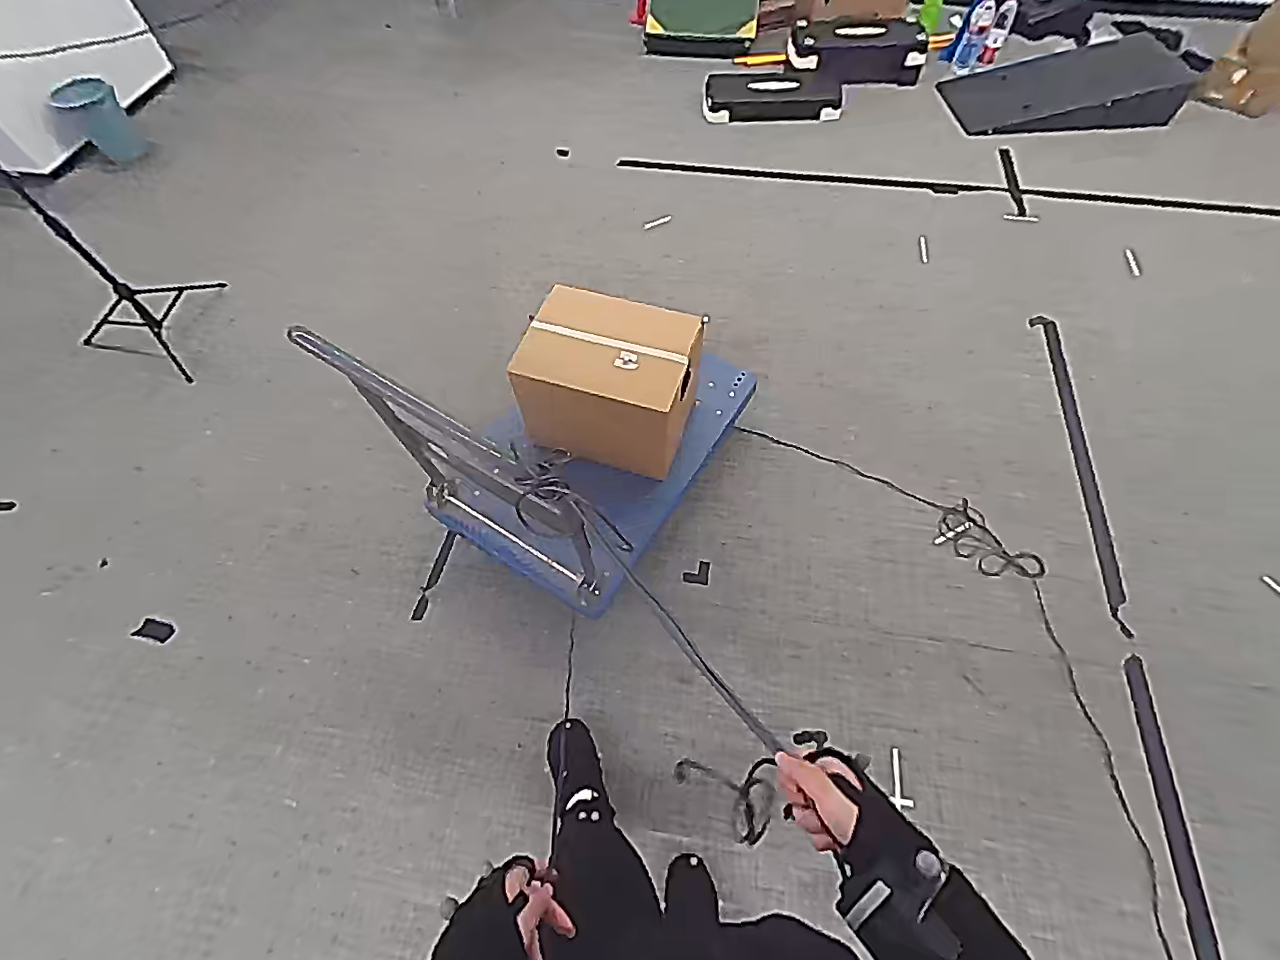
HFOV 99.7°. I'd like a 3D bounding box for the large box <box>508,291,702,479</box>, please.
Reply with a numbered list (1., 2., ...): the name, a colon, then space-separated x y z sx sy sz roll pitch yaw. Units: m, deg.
1. large box: -0.080 -0.246 1.434 0.408 0.320 0.320 16 62 9
